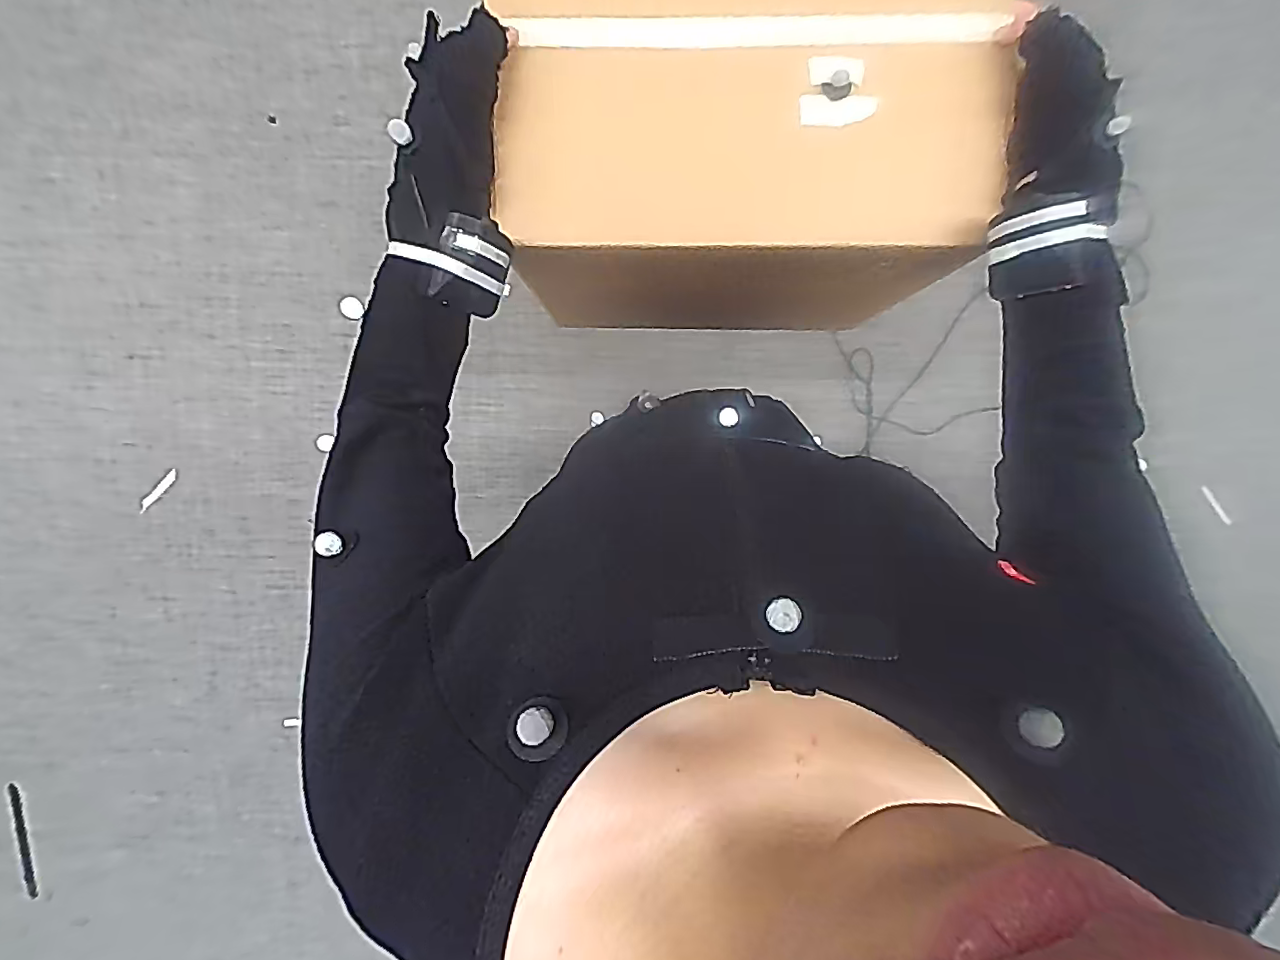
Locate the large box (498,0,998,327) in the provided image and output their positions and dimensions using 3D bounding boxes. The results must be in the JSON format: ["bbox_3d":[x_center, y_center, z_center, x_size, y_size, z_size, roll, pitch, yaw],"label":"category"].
[{"bbox_3d":[0.084,-0.357,0.581,0.408,0.320,0.320,0,94,1],"label":"large box"}]
